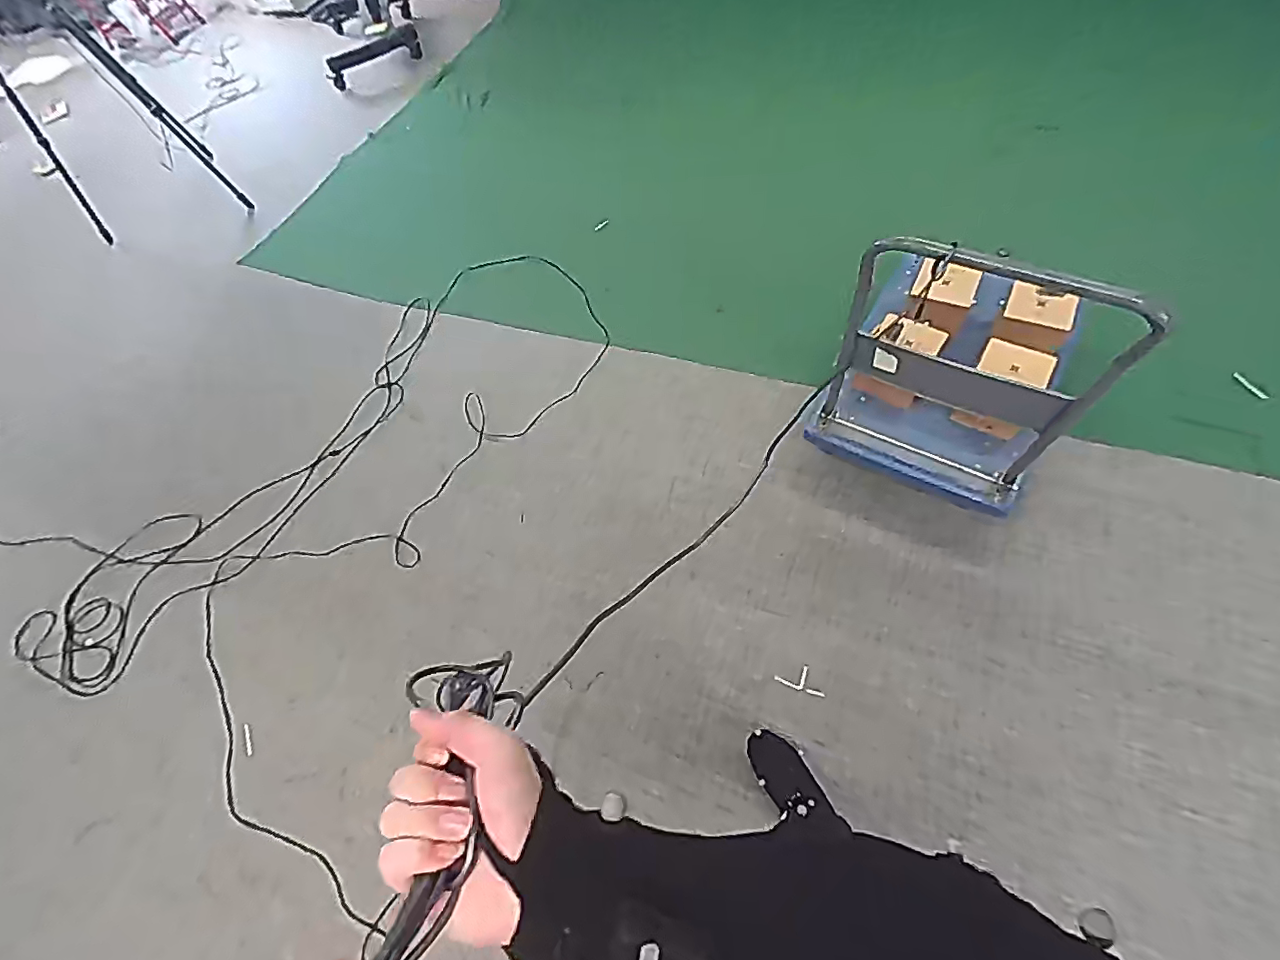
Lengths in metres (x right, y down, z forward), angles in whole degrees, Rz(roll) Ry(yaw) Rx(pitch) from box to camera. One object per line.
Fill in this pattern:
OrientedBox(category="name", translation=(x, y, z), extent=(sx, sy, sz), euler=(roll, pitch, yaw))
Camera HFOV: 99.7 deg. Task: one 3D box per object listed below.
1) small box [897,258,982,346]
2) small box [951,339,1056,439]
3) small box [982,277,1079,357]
OrientedBox(category="small box", translation=(0.915, -0.544, 1.667), extent=(0.168, 0.176, 0.179), euler=(23, 66, 20))
OrientedBox(category="small box", translation=(0.989, -0.247, 1.486), extent=(0.168, 0.176, 0.179), euler=(27, 68, 22))
OrientedBox(category="small box", translation=(1.133, -0.455, 1.580), extent=(0.168, 0.176, 0.179), euler=(23, 67, 21))
